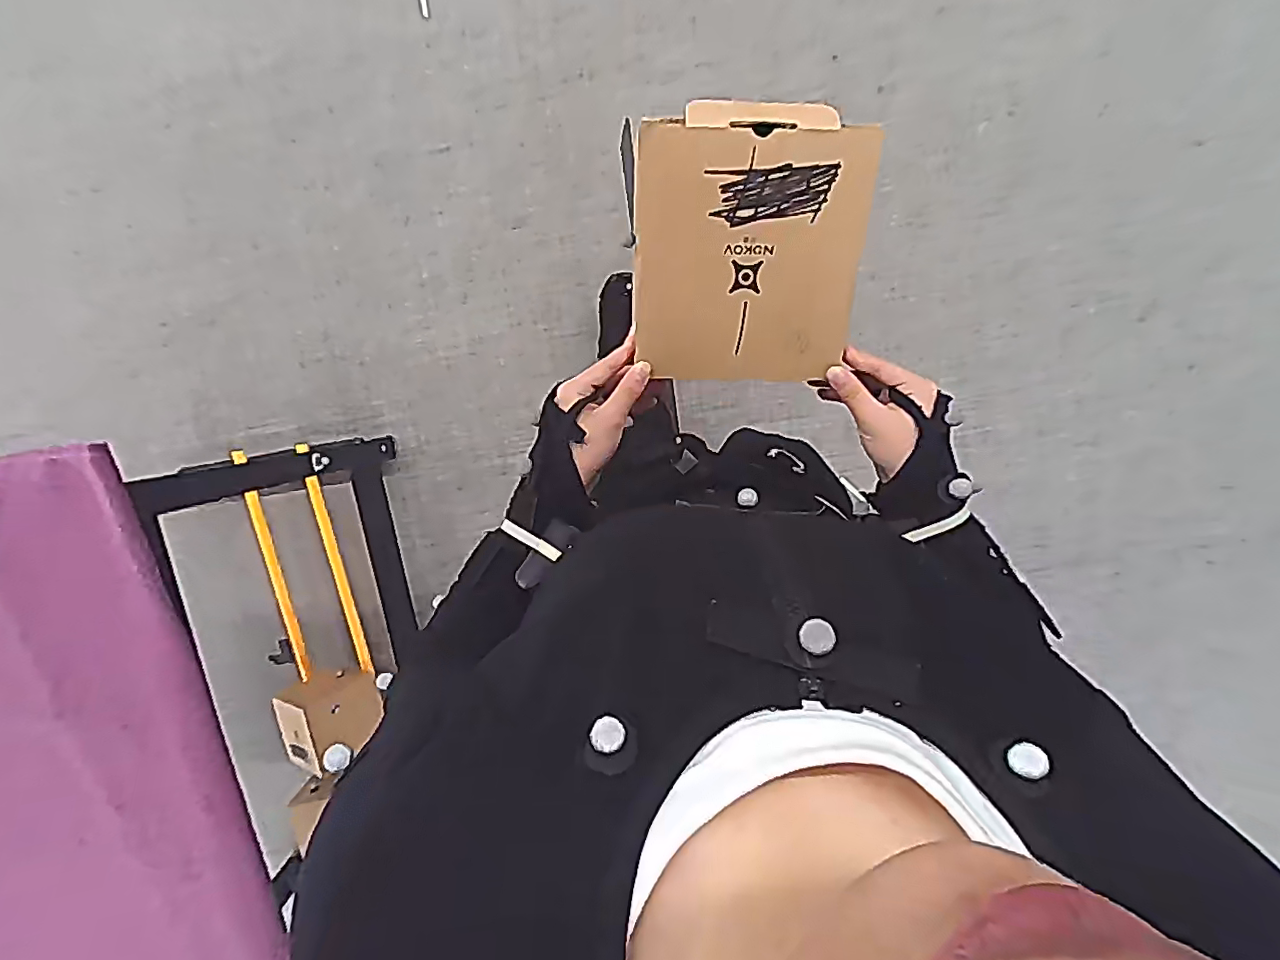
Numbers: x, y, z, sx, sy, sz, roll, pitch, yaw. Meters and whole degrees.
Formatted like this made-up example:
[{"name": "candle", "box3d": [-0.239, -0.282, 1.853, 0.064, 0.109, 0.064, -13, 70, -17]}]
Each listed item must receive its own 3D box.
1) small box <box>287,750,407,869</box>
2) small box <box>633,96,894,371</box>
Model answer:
[{"name": "small box", "box3d": [-0.701, 0.790, 1.312, 0.179, 0.176, 0.168, -12, 99, 2]}, {"name": "small box", "box3d": [0.079, -0.200, 0.454, 0.168, 0.176, 0.179, 1, 118, -2]}]
